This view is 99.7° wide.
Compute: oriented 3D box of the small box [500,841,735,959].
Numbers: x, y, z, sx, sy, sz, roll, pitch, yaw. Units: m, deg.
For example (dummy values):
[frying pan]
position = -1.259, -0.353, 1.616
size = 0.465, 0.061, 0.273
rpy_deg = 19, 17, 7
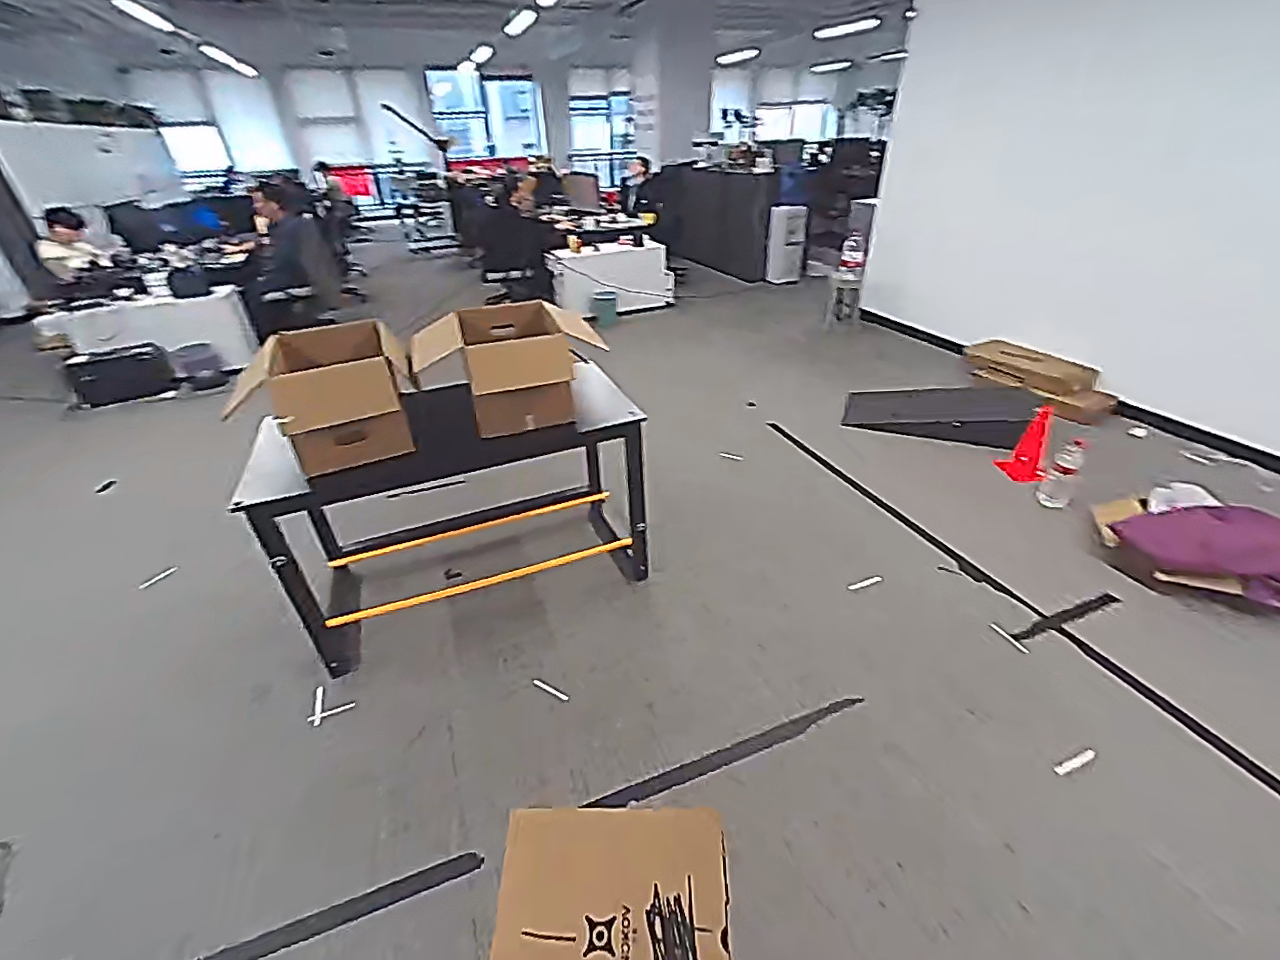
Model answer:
[small box]
position = -0.015, 0.411, 0.451
size = 0.179, 0.176, 0.168
rpy_deg = -1, 48, 1
